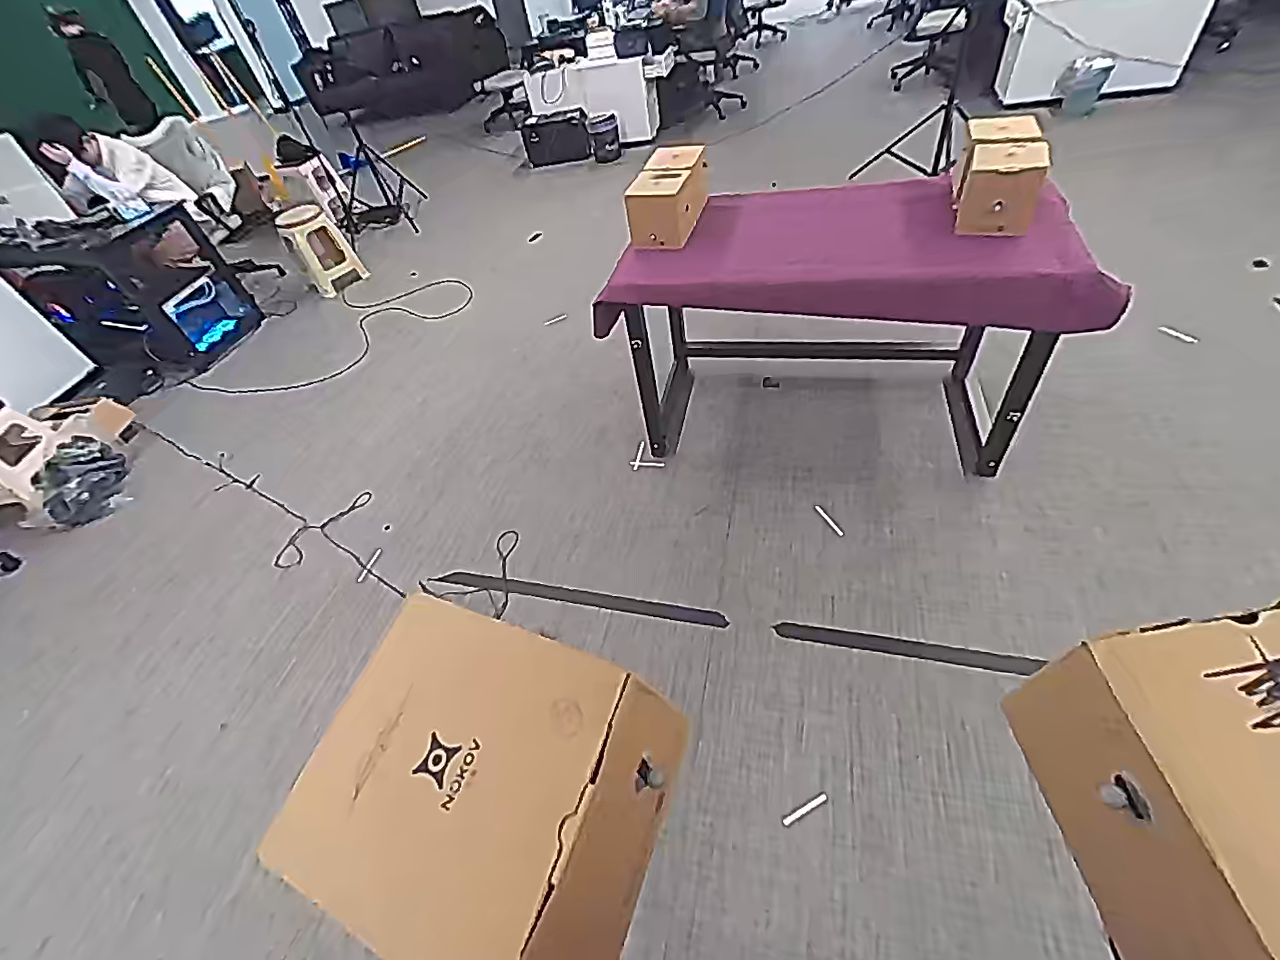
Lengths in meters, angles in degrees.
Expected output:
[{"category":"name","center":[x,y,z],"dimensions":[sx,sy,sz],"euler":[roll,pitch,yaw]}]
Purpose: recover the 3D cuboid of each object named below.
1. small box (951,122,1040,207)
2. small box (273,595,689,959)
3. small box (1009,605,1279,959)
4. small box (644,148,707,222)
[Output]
[{"category":"small box","center":[1.004,-0.900,1.544],"dimensions":[0.168,0.176,0.179],"euler":[8,50,18]},{"category":"small box","center":[-0.081,0.203,0.368],"dimensions":[0.179,0.176,0.168],"euler":[10,61,26]},{"category":"small box","center":[0.360,0.188,0.316],"dimensions":[0.168,0.176,0.179],"euler":[-14,55,8]},{"category":"small box","center":[0.123,-0.977,1.793],"dimensions":[0.168,0.176,0.179],"euler":[8,51,18]}]
